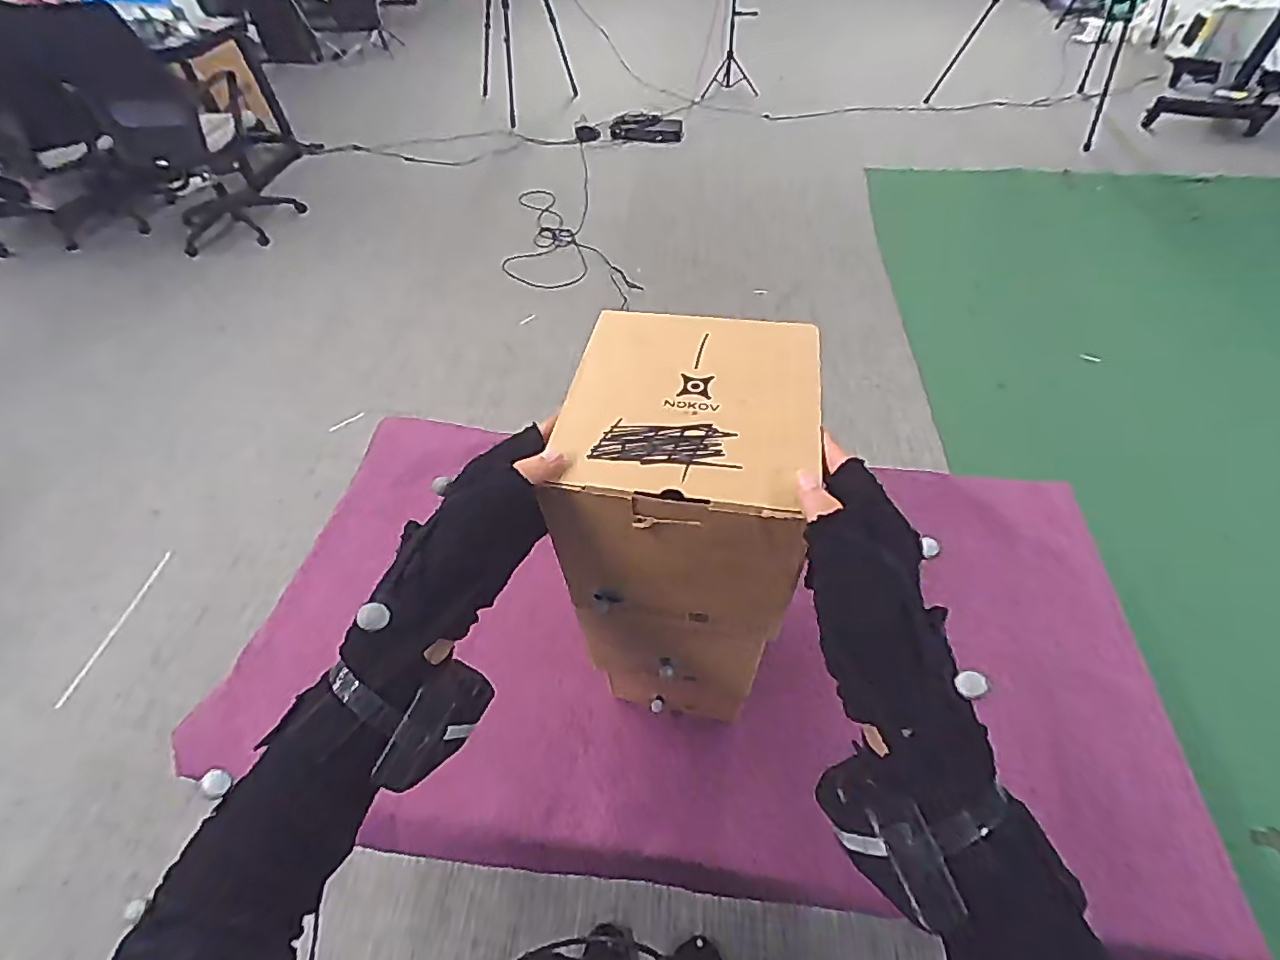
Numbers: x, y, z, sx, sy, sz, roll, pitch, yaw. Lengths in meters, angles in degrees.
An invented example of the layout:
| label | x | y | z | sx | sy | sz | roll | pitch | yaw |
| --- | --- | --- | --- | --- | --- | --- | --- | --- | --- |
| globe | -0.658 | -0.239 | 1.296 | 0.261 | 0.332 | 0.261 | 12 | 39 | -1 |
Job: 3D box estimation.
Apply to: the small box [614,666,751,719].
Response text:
| label | x | y | z | sx | sy | sz | roll | pitch | yaw |
| --- | --- | --- | --- | --- | --- | --- | --- | --- | --- |
| small box | 0.060 | 0.181 | 0.695 | 0.168 | 0.176 | 0.179 | 8 | 53 | 10 |

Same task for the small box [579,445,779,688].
| label | x | y | z | sx | sy | sz | roll | pitch | yaw |
| --- | --- | --- | --- | --- | --- | --- | --- | --- | --- |
| small box | 0.046 | 0.090 | 0.558 | 0.168 | 0.176 | 0.179 | 6 | 52 | 9 |
